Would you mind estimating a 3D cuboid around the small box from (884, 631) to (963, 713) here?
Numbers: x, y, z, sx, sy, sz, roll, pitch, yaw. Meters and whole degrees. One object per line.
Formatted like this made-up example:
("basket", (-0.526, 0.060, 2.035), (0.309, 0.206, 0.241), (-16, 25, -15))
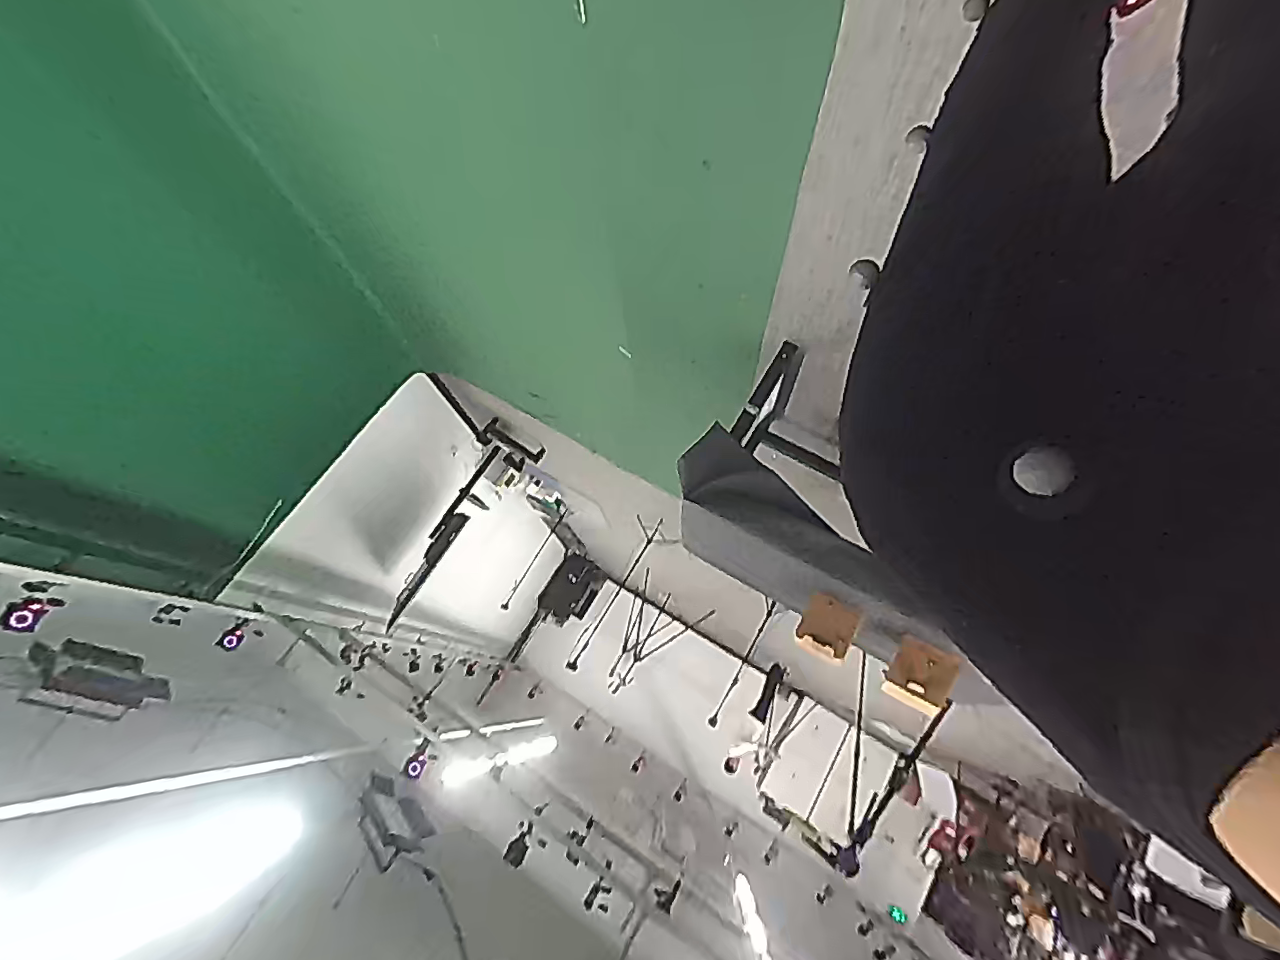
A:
("small box", (0.890, 0.604, 1.701), (0.168, 0.176, 0.179), (24, 162, 29))
